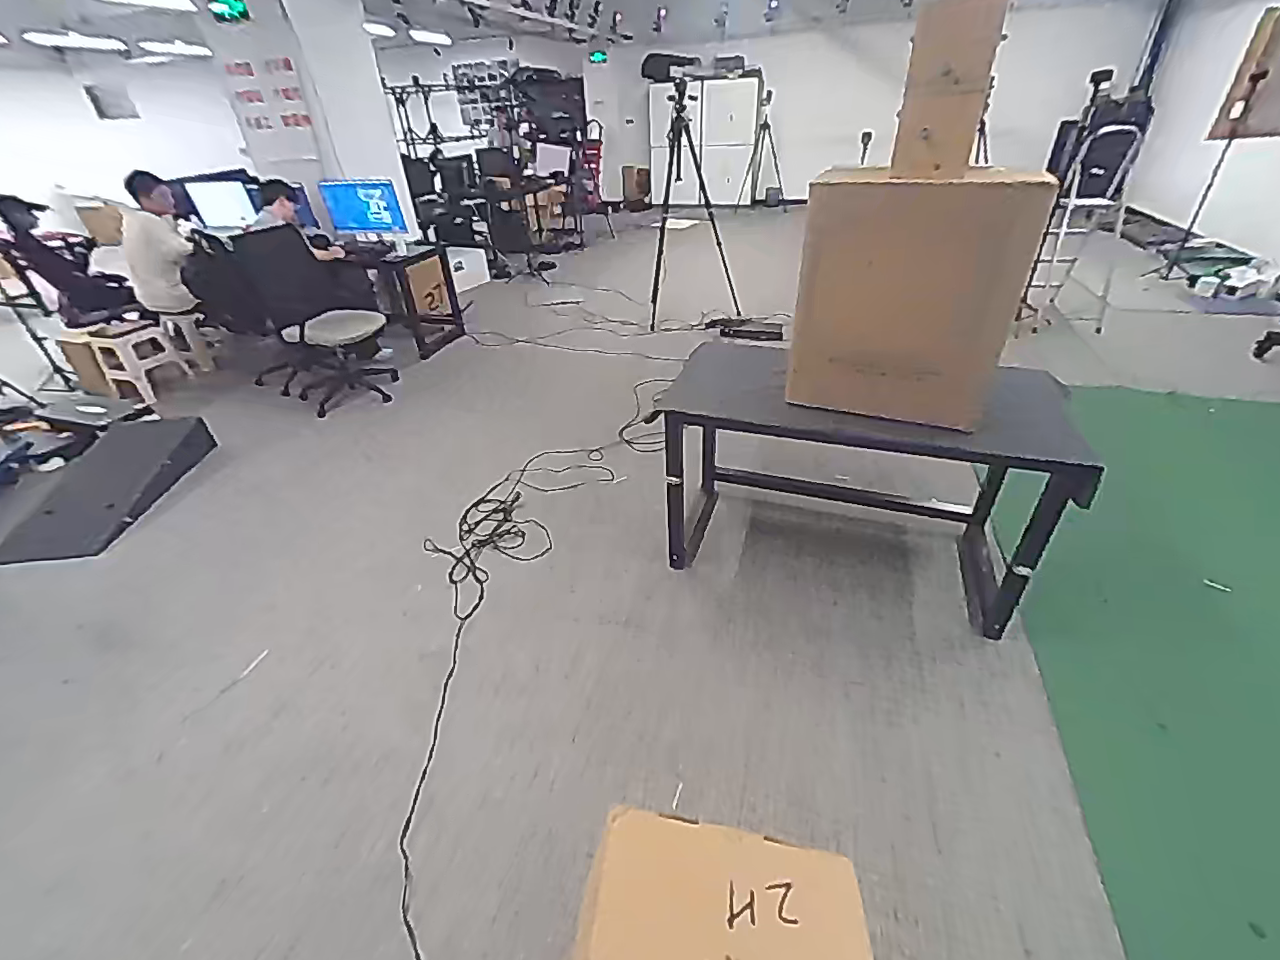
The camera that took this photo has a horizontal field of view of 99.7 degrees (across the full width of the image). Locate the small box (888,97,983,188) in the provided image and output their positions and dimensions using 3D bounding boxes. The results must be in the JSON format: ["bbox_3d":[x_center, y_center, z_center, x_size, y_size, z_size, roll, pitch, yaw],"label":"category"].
[{"bbox_3d":[0.706,-0.807,1.298,0.168,0.176,0.179,14,39,24],"label":"small box"}]

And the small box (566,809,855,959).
[{"bbox_3d":[0.030,0.353,0.338,0.168,0.176,0.179,13,31,0],"label":"small box"}]
